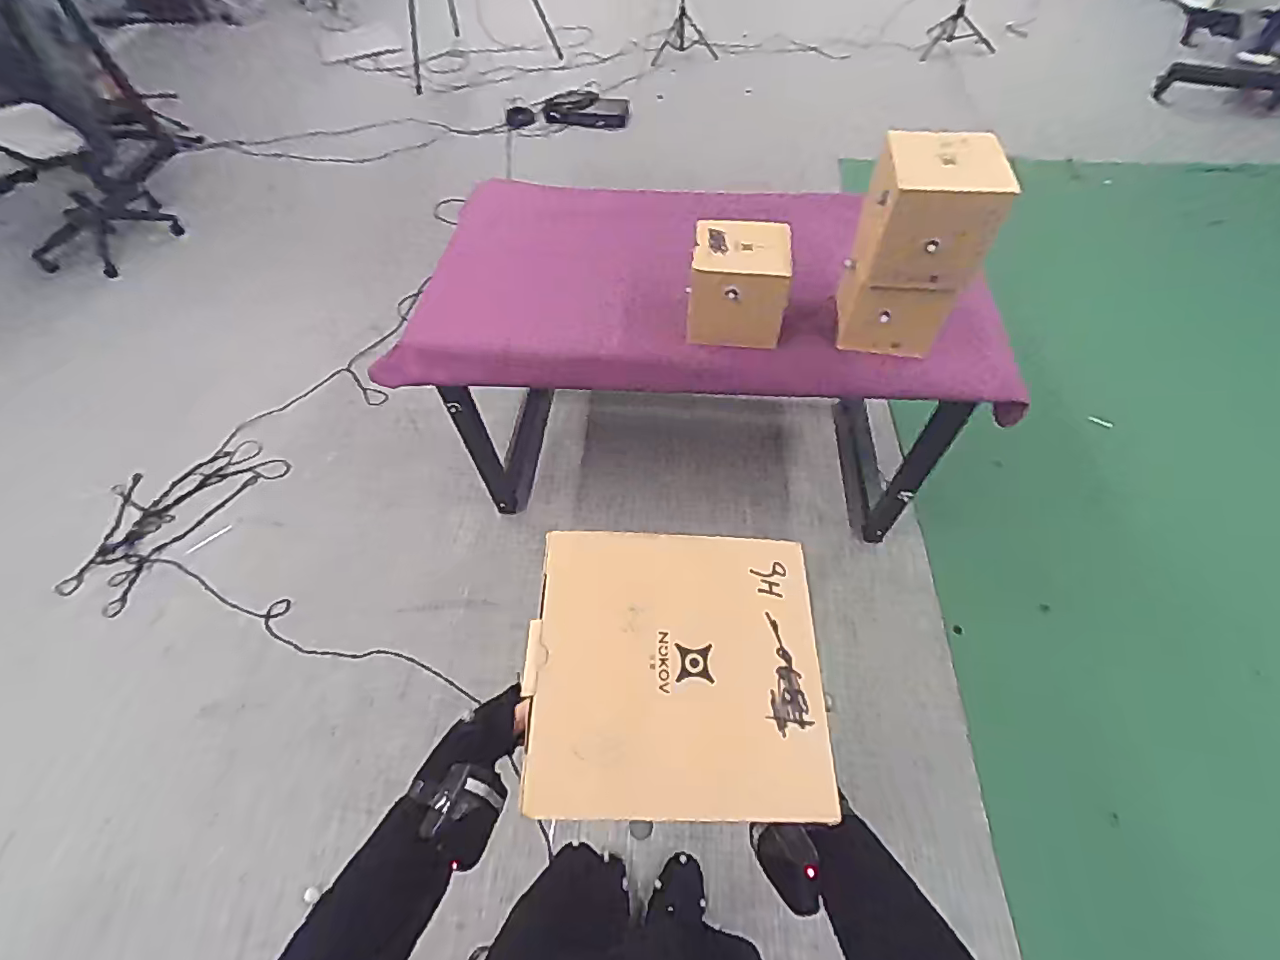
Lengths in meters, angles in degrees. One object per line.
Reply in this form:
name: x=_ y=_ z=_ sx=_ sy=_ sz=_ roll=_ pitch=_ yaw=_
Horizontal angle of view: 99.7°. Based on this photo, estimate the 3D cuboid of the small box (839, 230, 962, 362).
small box: x=0.483 y=-0.345 z=1.023 sx=0.168 sy=0.176 sz=0.179 roll=9 pitch=57 yaw=9

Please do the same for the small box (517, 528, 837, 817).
small box: x=0.017 y=0.147 z=0.396 sx=0.179 sy=0.176 sz=0.168 roll=3 pitch=60 yaw=-4

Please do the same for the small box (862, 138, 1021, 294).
small box: x=0.472 y=-0.424 z=0.877 sx=0.168 sy=0.176 sz=0.179 roll=6 pitch=57 yaw=7

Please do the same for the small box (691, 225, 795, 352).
small box: x=0.194 y=-0.368 z=1.047 sx=0.179 sy=0.176 sz=0.168 roll=6 pitch=55 yaw=5
